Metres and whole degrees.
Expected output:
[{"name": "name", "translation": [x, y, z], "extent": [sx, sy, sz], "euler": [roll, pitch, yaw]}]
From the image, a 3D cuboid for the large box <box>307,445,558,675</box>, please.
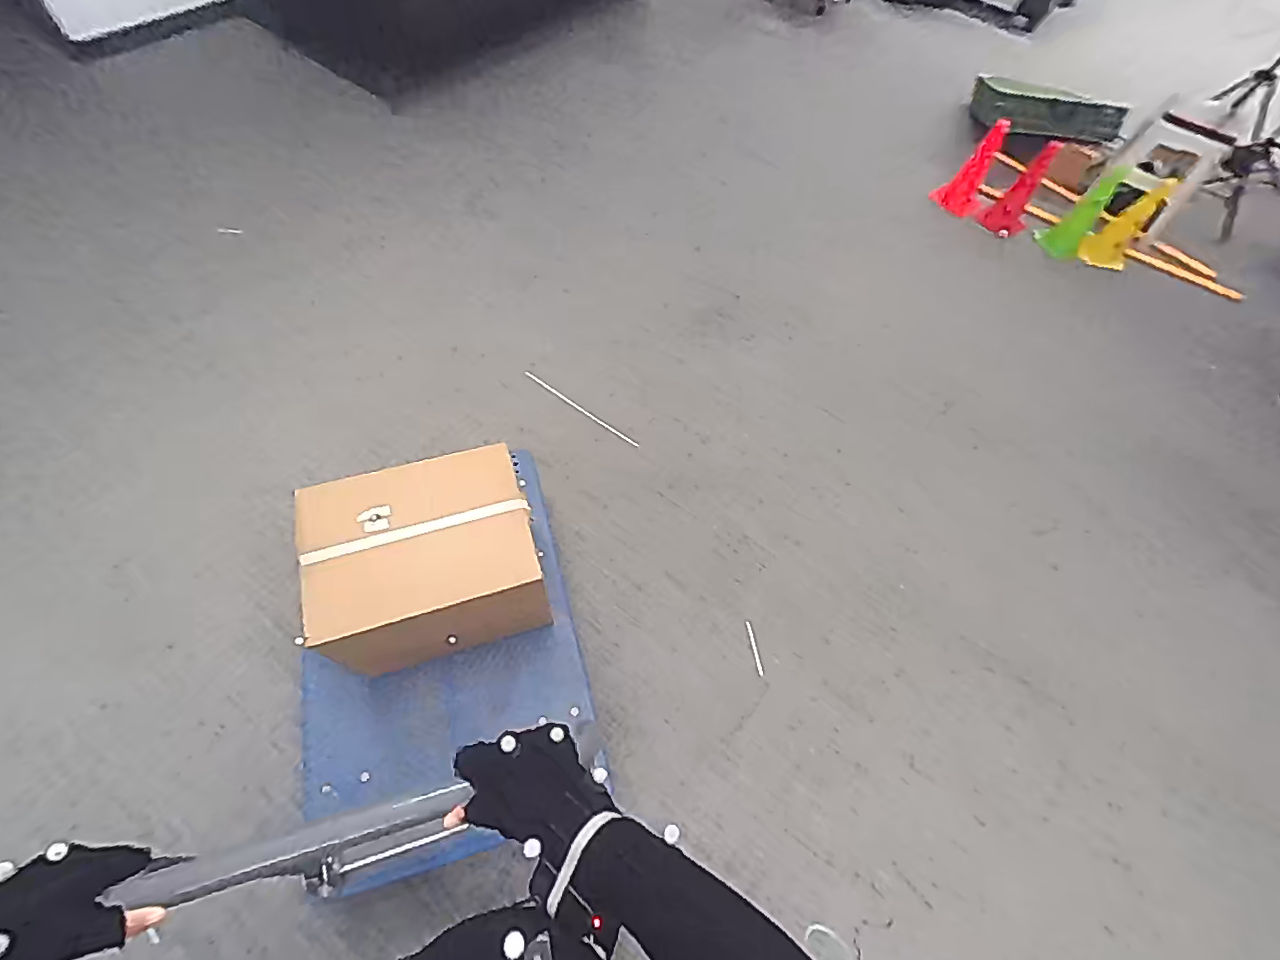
[{"name": "large box", "translation": [-0.412, 0.175, 1.143], "extent": [0.408, 0.320, 0.320], "euler": [-15, 62, -13]}]
